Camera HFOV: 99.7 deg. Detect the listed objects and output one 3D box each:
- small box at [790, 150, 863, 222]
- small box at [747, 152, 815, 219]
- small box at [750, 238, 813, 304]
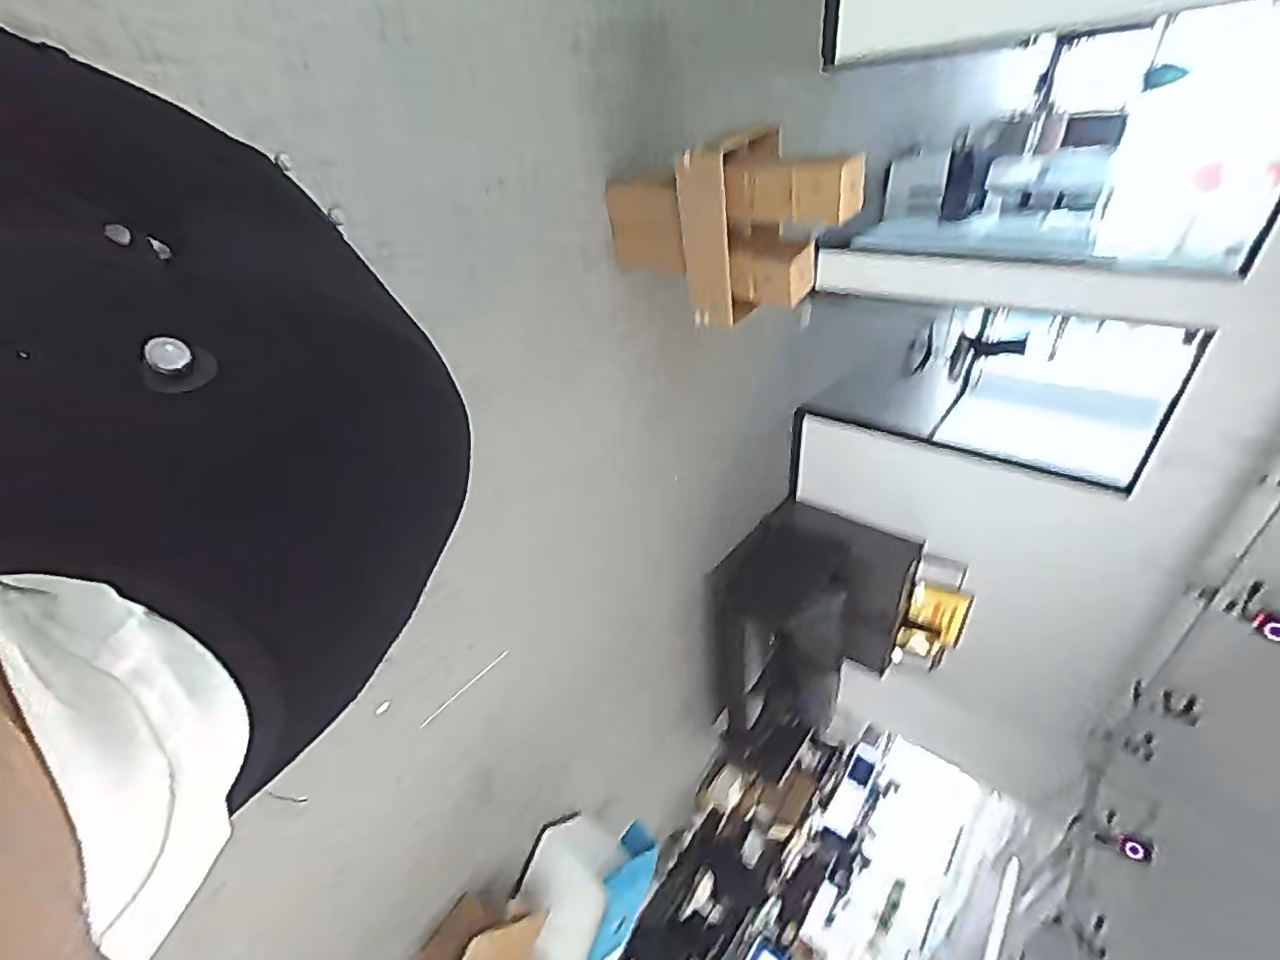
[{"bbox_3d":[0.589,-0.932,1.720,0.179,0.176,0.168,-44,138,-32],"label":"small box"},{"bbox_3d":[0.469,-0.986,1.814,0.179,0.176,0.168,-42,137,-34],"label":"small box"},{"bbox_3d":[0.518,-0.773,1.991,0.179,0.176,0.168,-47,141,-26],"label":"small box"}]
